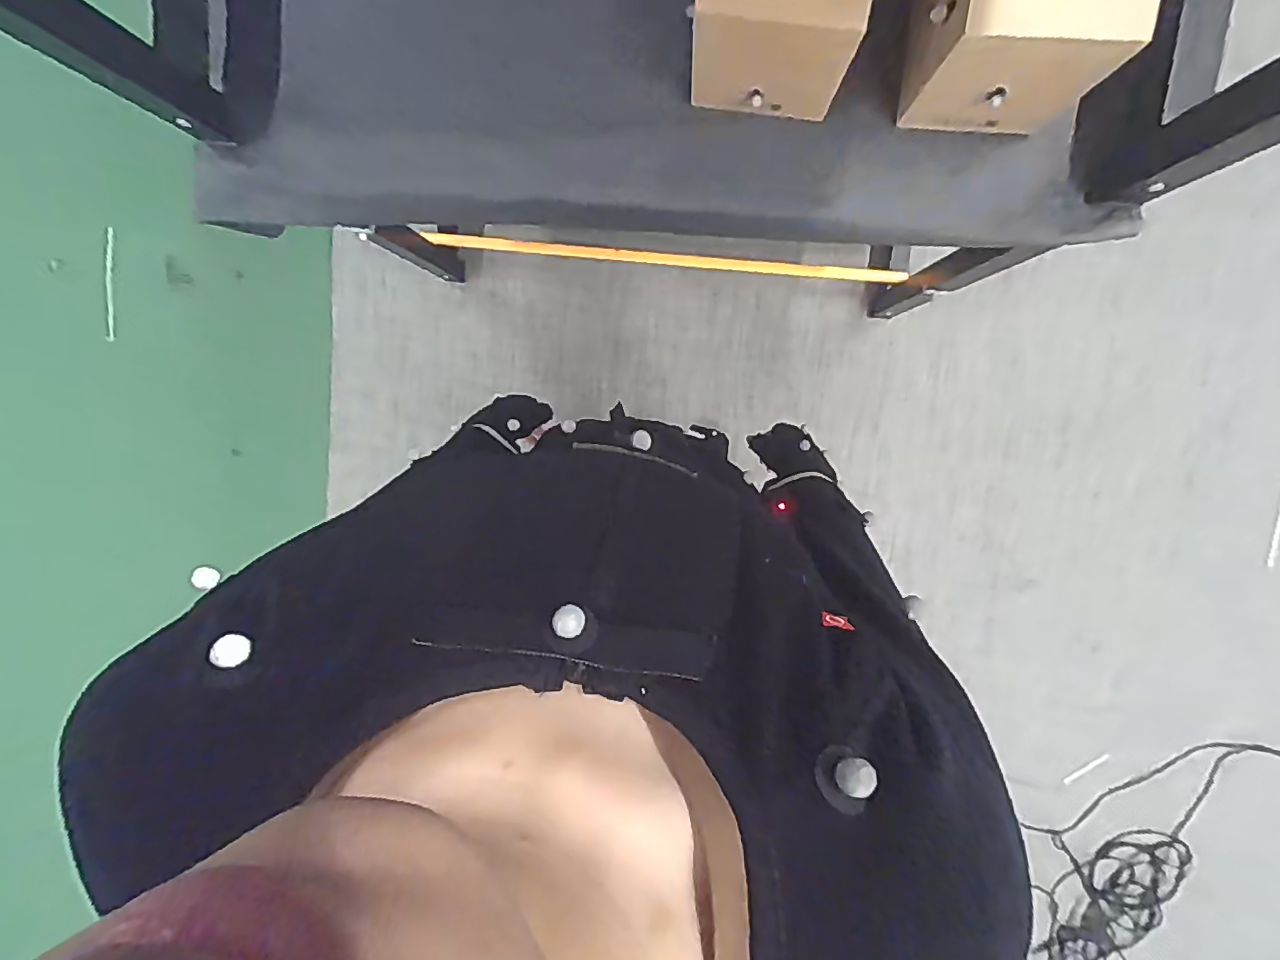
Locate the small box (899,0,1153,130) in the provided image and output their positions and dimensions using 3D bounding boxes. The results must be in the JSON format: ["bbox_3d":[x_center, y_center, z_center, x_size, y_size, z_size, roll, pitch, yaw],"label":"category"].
[{"bbox_3d":[0.394,-0.501,0.567,0.168,0.176,0.179,6,97,3],"label":"small box"}]
